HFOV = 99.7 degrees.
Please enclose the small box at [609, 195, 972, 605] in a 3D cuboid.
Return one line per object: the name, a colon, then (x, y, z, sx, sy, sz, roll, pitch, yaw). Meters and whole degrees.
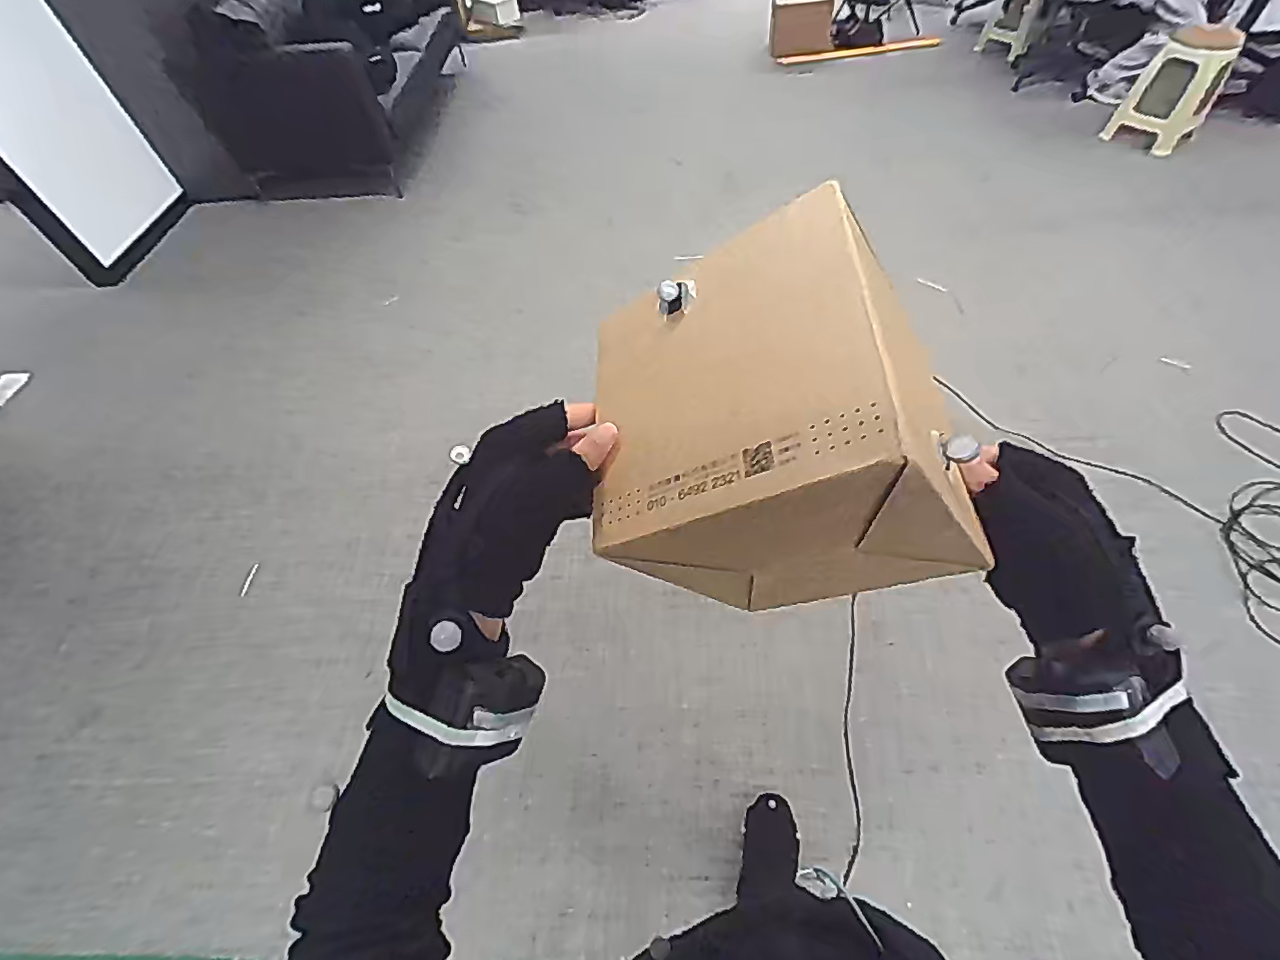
small box: (0.091, -0.026, 0.351, 0.168, 0.179, 0.176, -22, 55, 32)
